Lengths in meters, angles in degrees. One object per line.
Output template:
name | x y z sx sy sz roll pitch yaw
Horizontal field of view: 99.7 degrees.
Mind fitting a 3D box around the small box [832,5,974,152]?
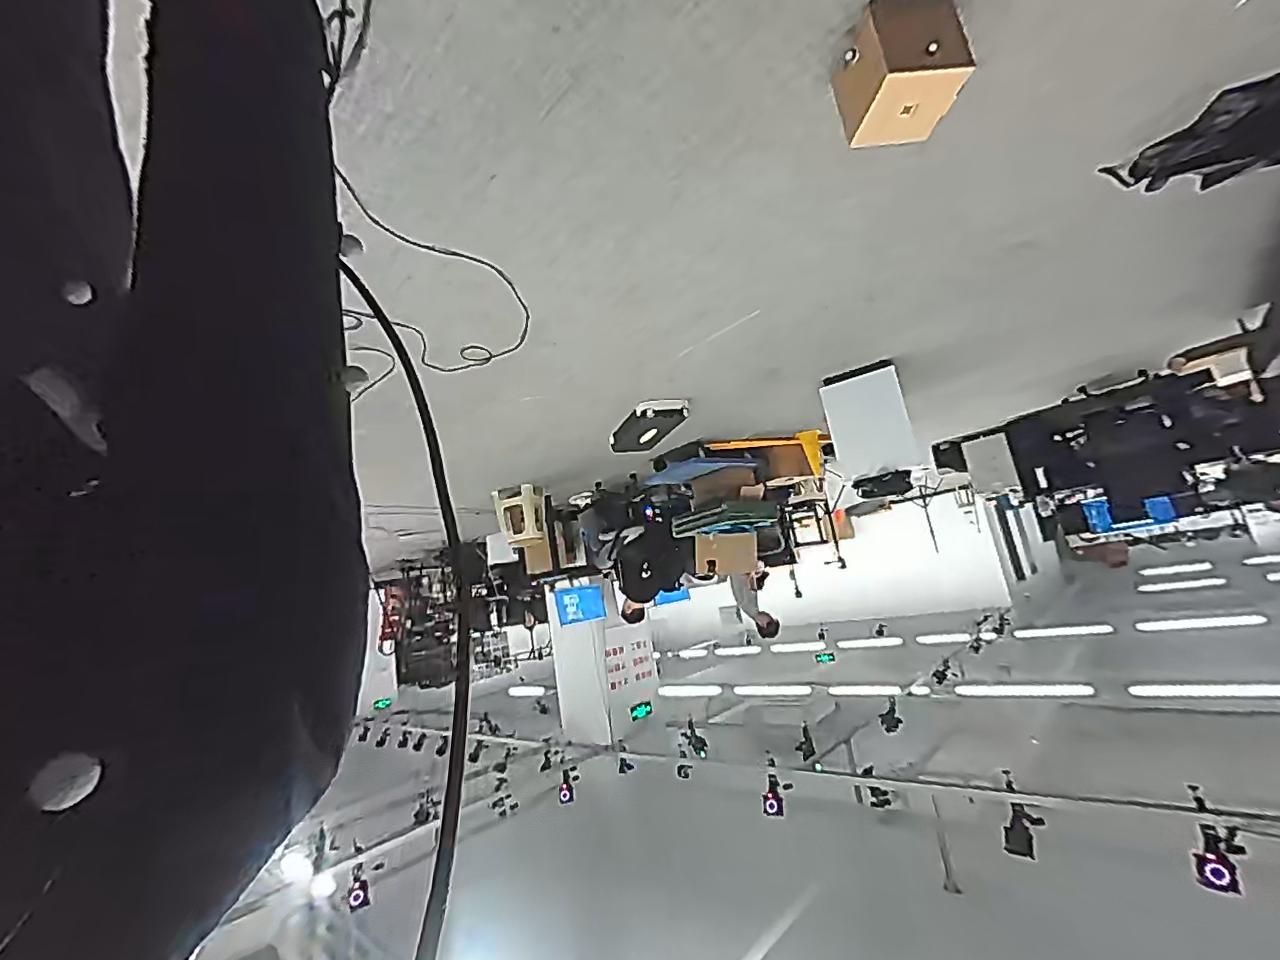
small box | 0.508 -0.791 1.069 0.179 0.176 0.168 -8 167 -5
